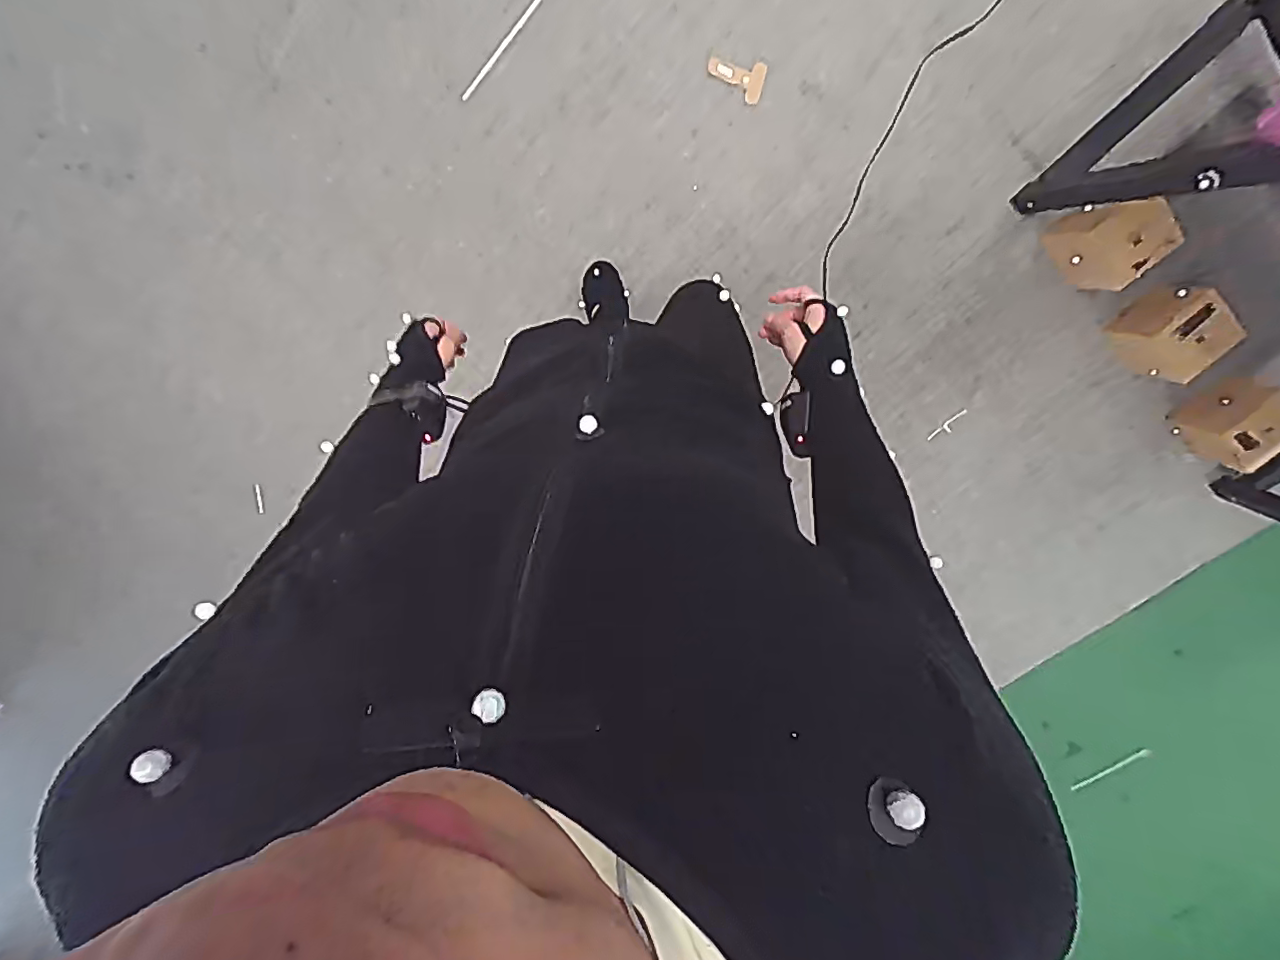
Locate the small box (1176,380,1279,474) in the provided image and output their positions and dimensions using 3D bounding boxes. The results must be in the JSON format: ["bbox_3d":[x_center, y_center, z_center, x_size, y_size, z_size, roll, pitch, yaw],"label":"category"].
[{"bbox_3d":[1.658,-0.151,1.498,0.168,0.176,0.179,40,106,-14],"label":"small box"}]

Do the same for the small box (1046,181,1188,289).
[{"bbox_3d":[1.158,-0.592,1.328,0.168,0.176,0.179,-40,106,15],"label":"small box"}]
